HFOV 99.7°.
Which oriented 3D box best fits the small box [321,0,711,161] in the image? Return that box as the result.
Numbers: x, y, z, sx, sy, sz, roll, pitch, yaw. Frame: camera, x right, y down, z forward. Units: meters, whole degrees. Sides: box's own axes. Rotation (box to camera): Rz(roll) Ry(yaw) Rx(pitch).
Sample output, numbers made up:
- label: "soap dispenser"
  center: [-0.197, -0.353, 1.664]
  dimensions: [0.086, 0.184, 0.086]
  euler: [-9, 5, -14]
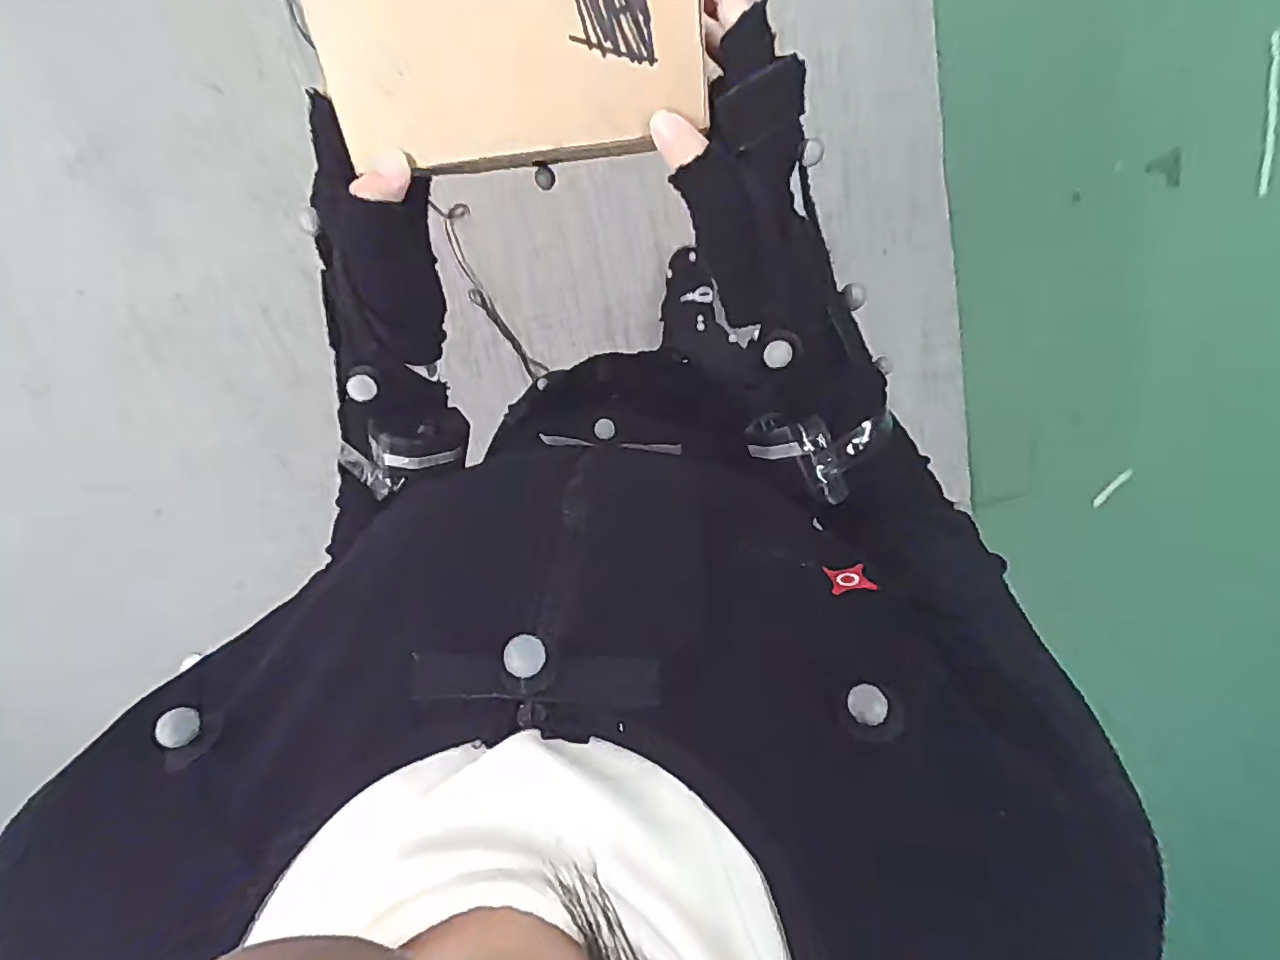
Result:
- label: "small box"
  center: [-0.056, -0.279, 0.296]
  dimensions: [0.179, 0.176, 0.168]
  euler: [-4, 119, 7]
